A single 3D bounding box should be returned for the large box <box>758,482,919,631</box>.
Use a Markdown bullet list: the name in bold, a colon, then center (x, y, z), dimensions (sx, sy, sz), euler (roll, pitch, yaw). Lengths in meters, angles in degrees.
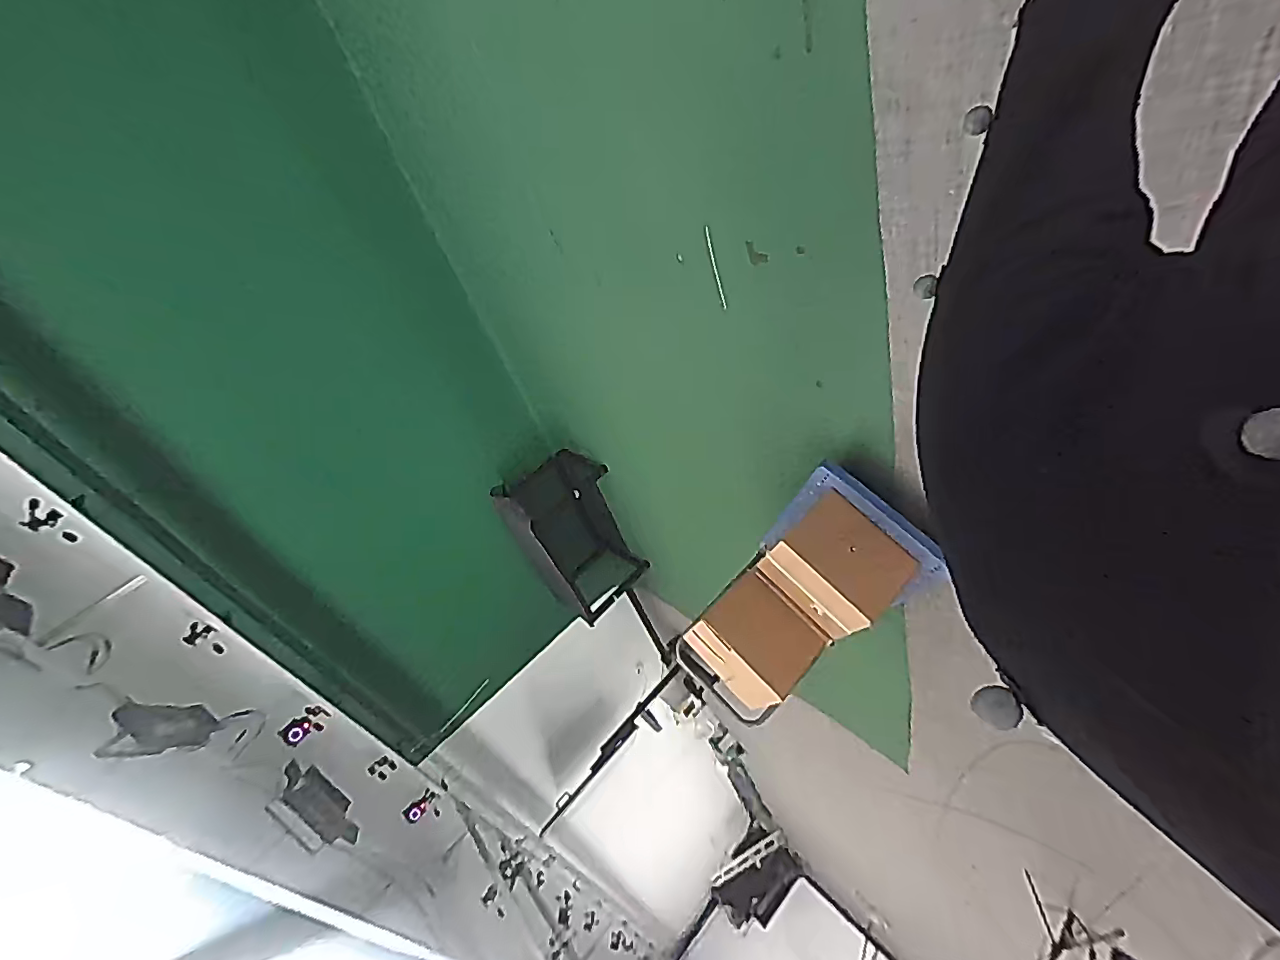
- **large box**: center (0.727, 0.287, 2.024), dimensions (0.408, 0.320, 0.320), euler (43, 158, 14)
